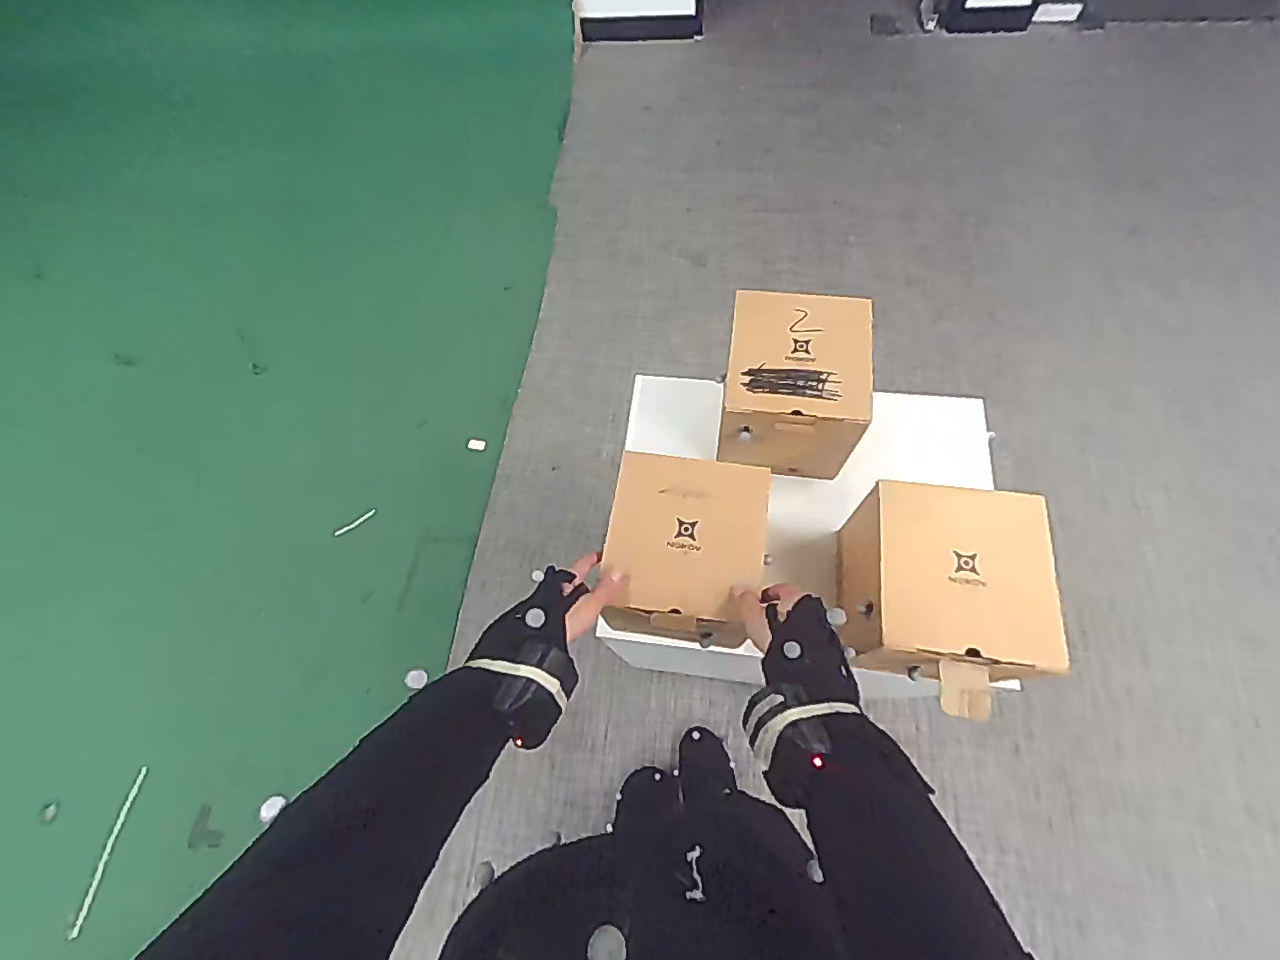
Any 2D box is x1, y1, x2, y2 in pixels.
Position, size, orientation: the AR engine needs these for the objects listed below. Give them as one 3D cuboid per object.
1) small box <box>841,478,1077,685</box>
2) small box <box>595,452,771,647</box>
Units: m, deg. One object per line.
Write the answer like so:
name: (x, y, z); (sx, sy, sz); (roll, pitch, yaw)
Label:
small box: (0.326, 0.118, 0.597); (0.168, 0.176, 0.179); (6, 66, 7)
small box: (0.053, 0.089, 0.632); (0.168, 0.176, 0.179); (7, 66, 6)
